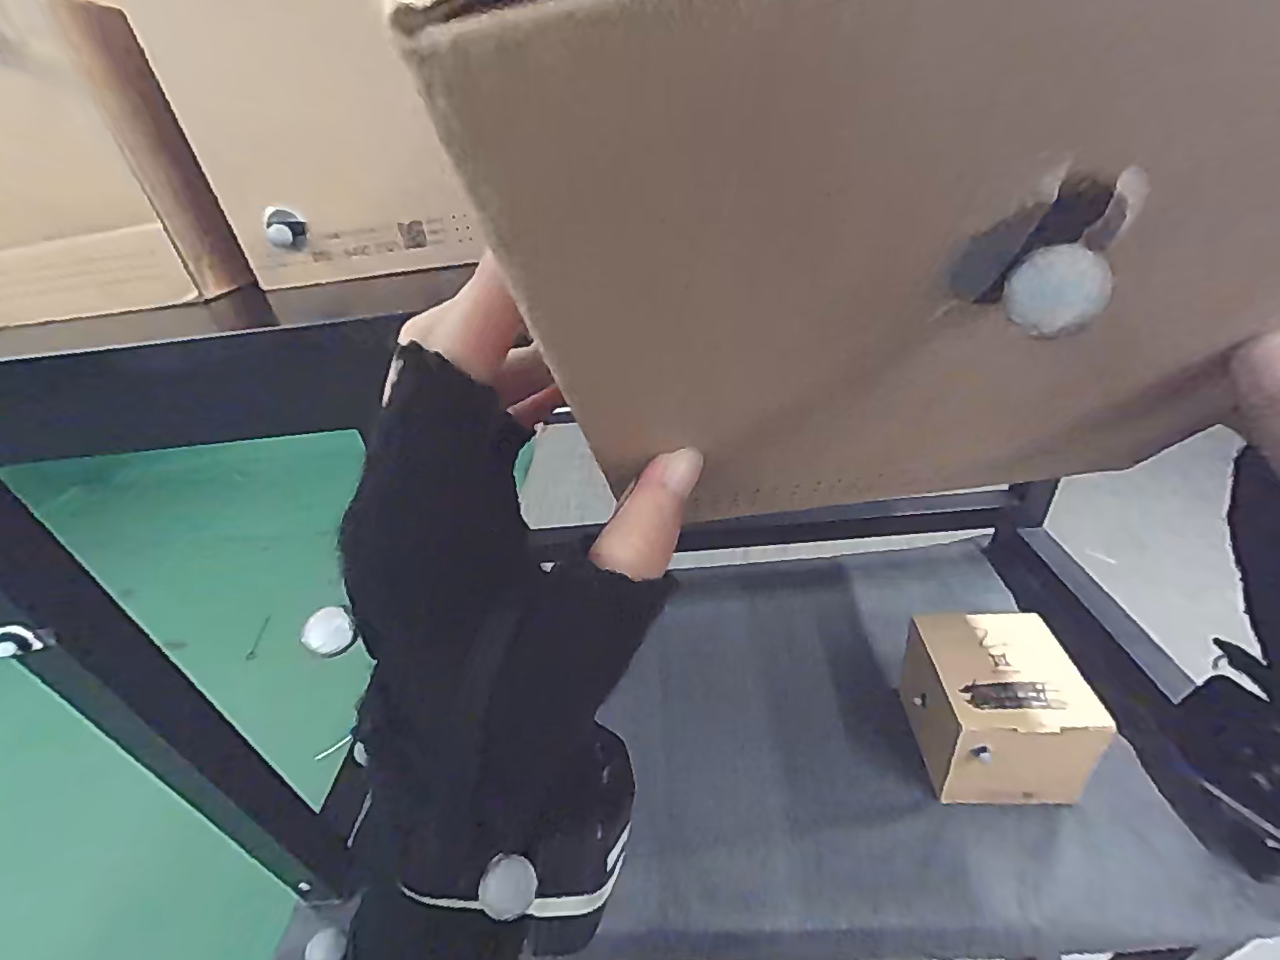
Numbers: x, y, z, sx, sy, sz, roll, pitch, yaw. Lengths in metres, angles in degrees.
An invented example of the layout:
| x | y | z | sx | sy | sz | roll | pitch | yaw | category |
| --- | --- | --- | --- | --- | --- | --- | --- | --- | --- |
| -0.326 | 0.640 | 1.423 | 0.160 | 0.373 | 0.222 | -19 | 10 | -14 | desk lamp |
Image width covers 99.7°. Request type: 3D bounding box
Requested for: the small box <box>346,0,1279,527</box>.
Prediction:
| x | y | z | sx | sy | sz | roll | pitch | yaw | category |
| --- | --- | --- | --- | --- | --- | --- | --- | --- | --- |
| 0.059 | -0.092 | 0.151 | 0.179 | 0.176 | 0.168 | -7 | 69 | 5 | small box |

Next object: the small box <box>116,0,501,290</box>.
| x | y | z | sx | sy | sz | roll | pitch | yaw | category |
| --- | --- | --- | --- | --- | --- | --- | --- | --- | --- |
| -0.162 | -0.232 | 0.359 | 0.168 | 0.176 | 0.179 | -6 | 32 | 4 | small box |
